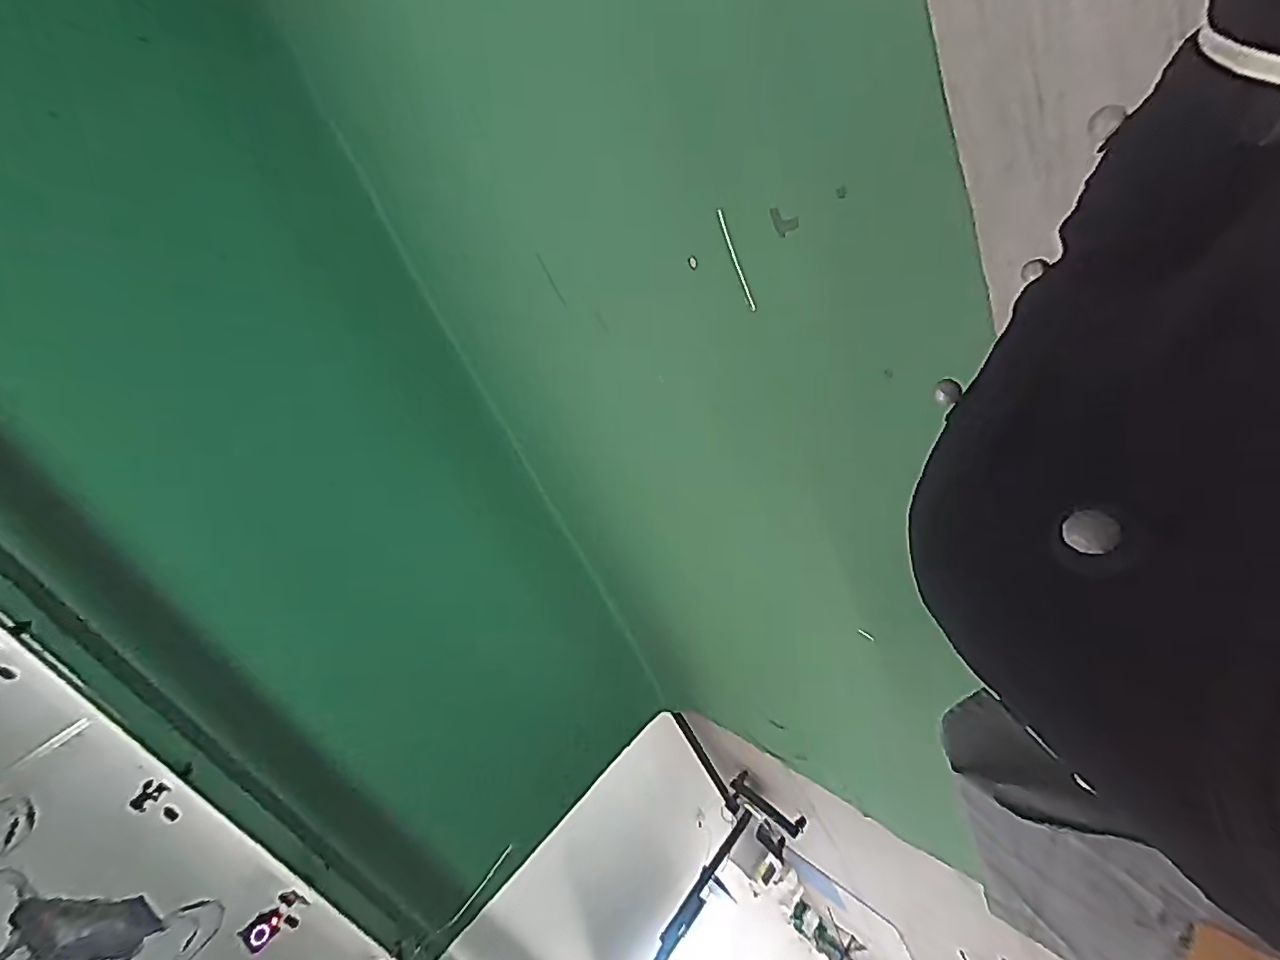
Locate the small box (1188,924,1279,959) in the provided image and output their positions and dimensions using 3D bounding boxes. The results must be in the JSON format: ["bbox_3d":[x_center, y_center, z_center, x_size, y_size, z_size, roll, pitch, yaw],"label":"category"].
[{"bbox_3d":[0.938,0.819,0.806,0.179,0.176,0.168,7,130,53],"label":"small box"}]
